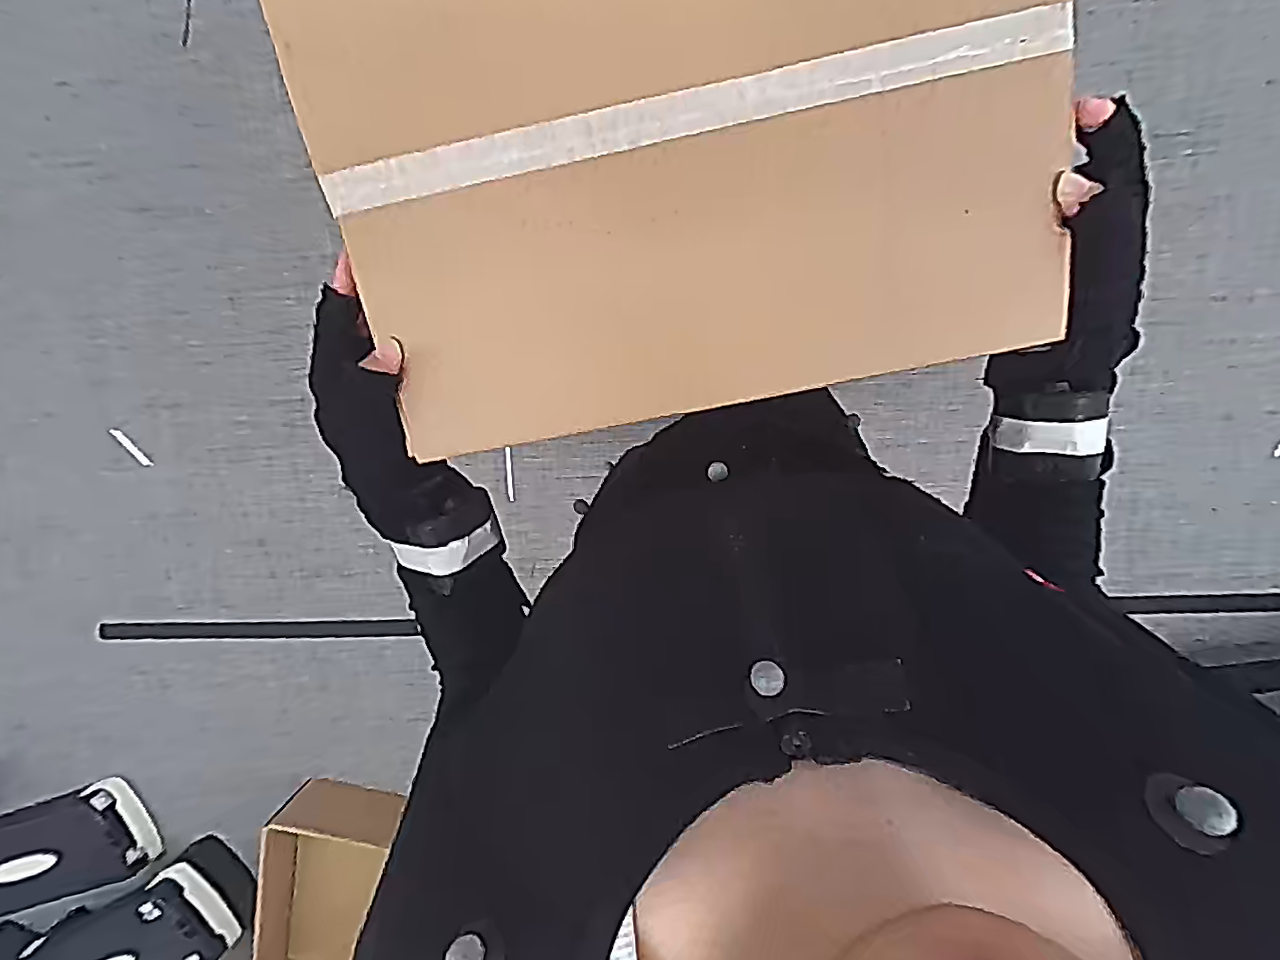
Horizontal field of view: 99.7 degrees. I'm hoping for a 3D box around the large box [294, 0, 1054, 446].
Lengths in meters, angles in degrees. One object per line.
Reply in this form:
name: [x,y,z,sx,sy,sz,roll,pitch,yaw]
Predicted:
large box: [0.027,-0.241,0.447,0.408,0.320,0.320,-10,106,3]
